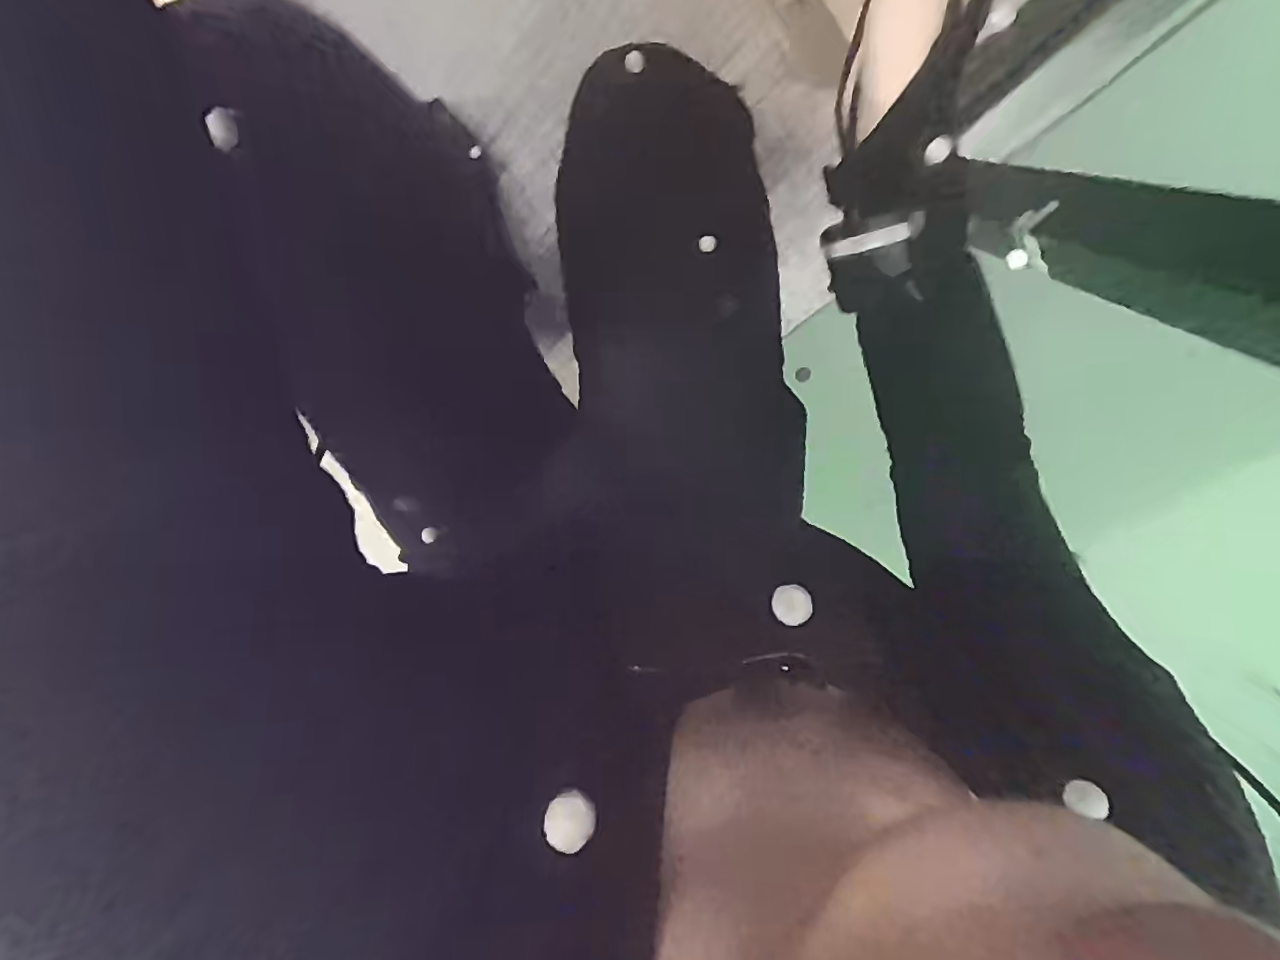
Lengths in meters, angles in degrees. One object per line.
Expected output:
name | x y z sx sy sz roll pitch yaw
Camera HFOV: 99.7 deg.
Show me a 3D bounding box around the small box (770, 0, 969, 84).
small box | 0.206 -0.483 0.469 0.168 0.176 0.179 -38 116 23
